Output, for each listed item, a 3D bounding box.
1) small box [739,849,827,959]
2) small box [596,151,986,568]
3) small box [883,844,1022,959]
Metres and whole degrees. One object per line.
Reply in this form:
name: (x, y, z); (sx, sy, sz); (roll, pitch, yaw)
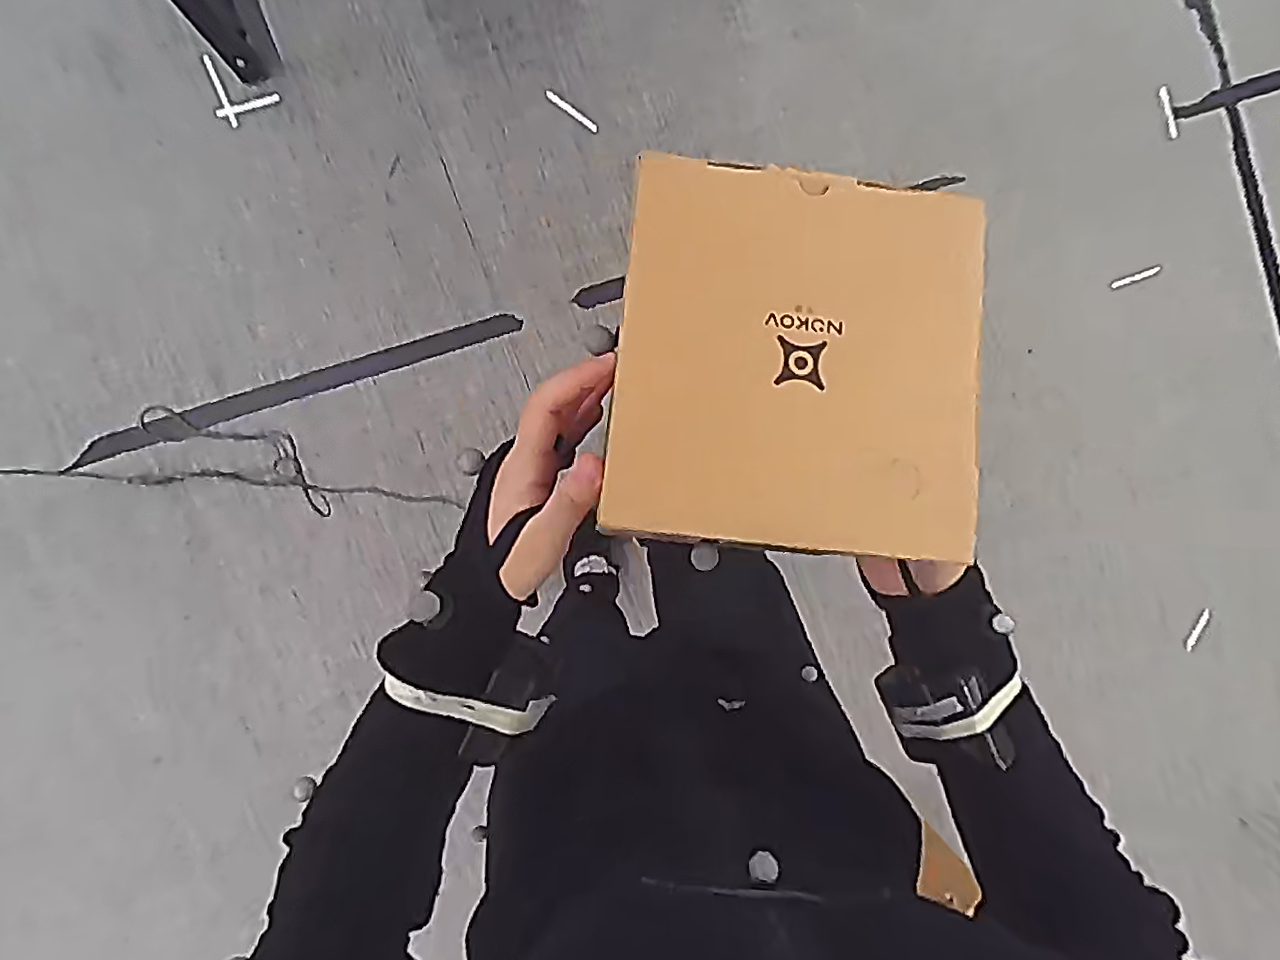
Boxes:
small box: (0.363, 1.073, 1.338); (0.168, 0.176, 0.179); (-18, 94, -7)
small box: (0.067, -0.047, 0.320); (0.168, 0.176, 0.179); (7, 82, -3)
small box: (0.691, 0.976, 1.213); (0.179, 0.176, 0.168); (-31, 95, -4)
